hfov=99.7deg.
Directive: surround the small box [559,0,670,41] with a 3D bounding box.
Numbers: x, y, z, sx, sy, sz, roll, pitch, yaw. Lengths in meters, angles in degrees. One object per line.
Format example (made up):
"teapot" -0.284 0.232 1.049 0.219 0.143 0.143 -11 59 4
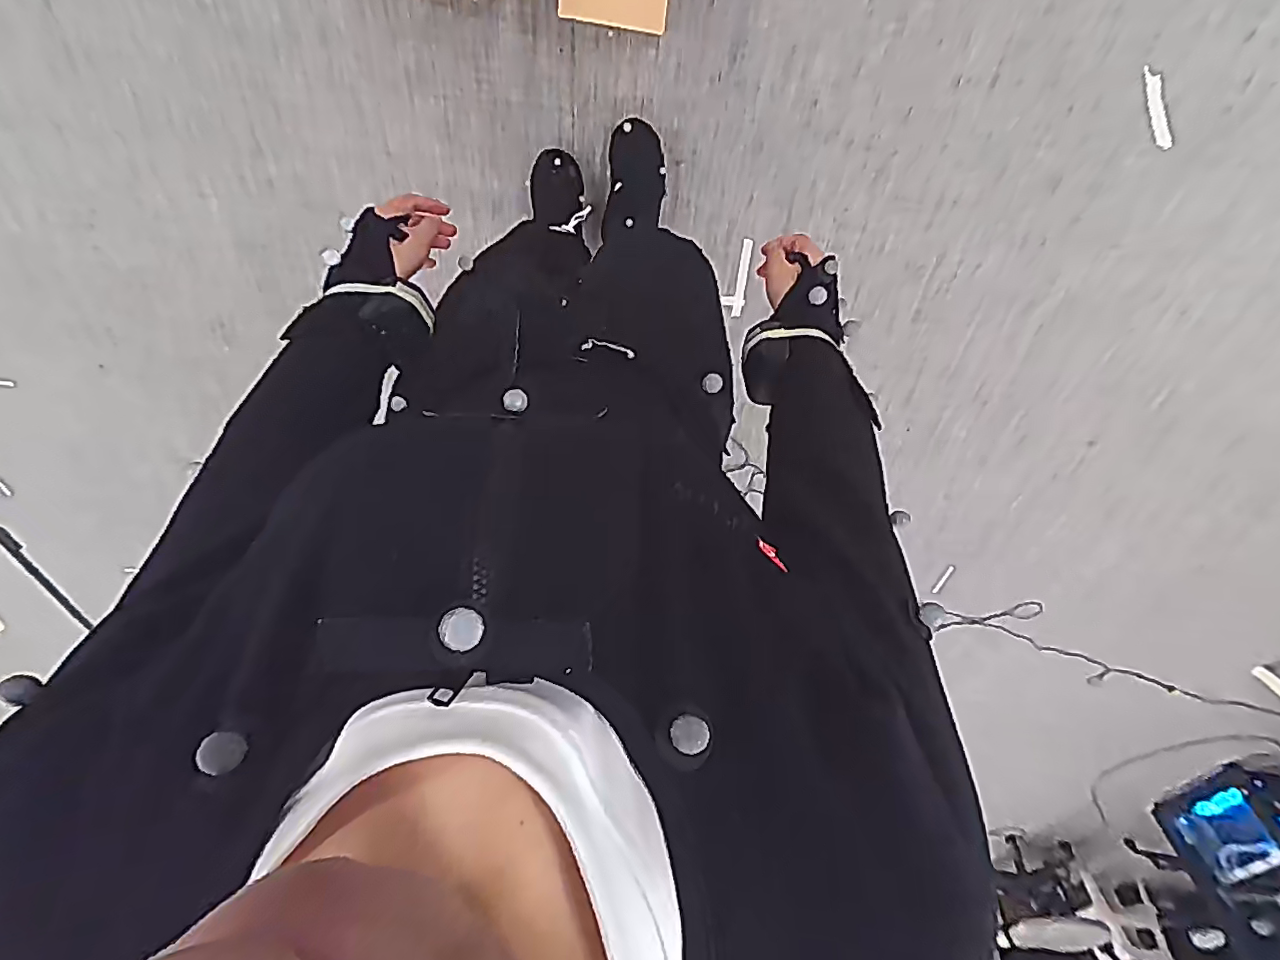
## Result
"small box" -0.028 -0.811 0.840 0.168 0.176 0.179 7 130 -4
